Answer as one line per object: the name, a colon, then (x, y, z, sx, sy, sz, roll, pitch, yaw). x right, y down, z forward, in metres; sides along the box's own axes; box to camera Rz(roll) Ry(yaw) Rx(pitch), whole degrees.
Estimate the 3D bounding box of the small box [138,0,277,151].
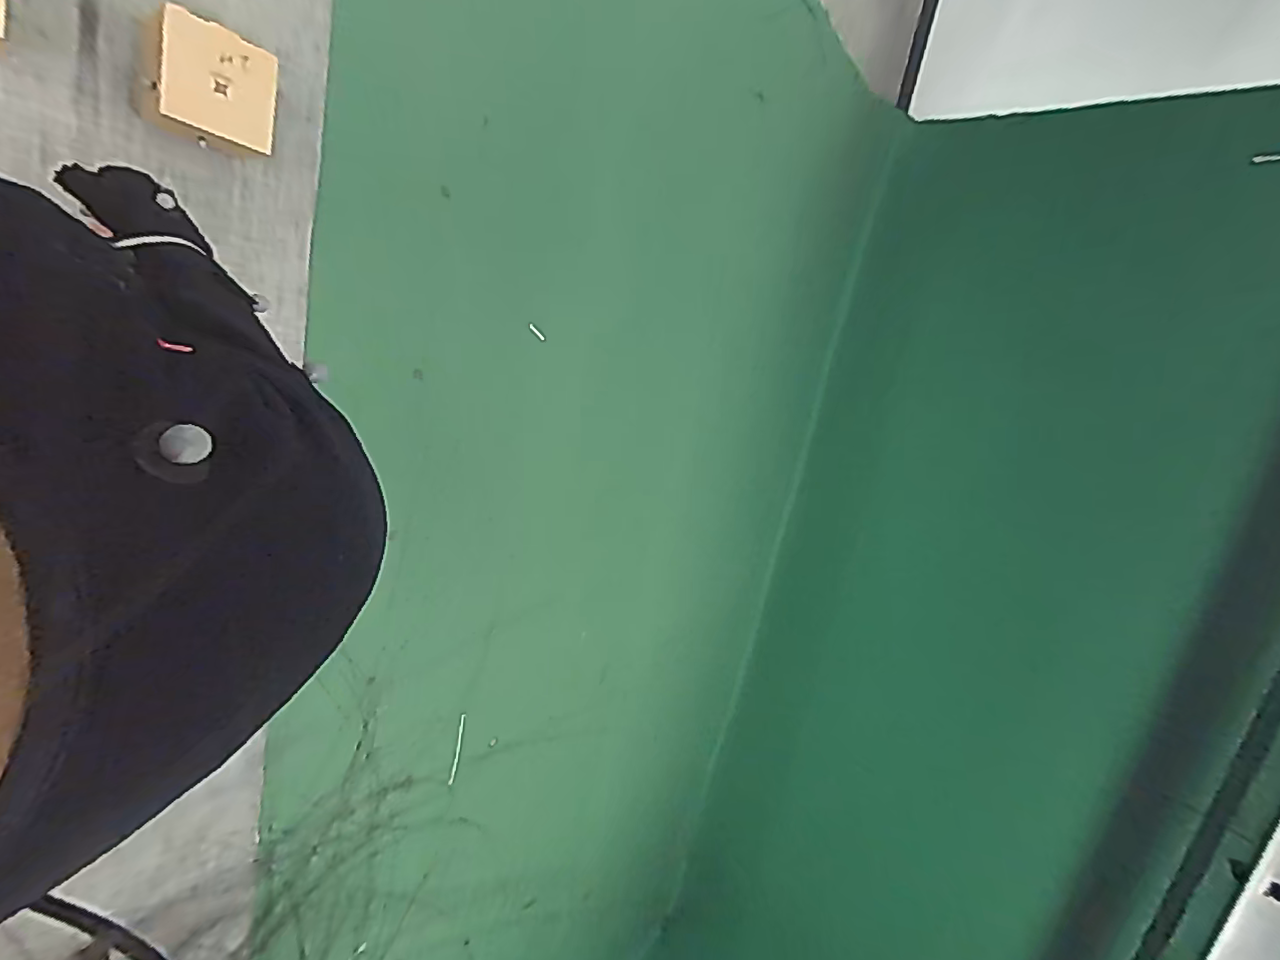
small box: (-0.804, -0.737, 1.003, 0.168, 0.176, 0.179, -2, 109, -52)
